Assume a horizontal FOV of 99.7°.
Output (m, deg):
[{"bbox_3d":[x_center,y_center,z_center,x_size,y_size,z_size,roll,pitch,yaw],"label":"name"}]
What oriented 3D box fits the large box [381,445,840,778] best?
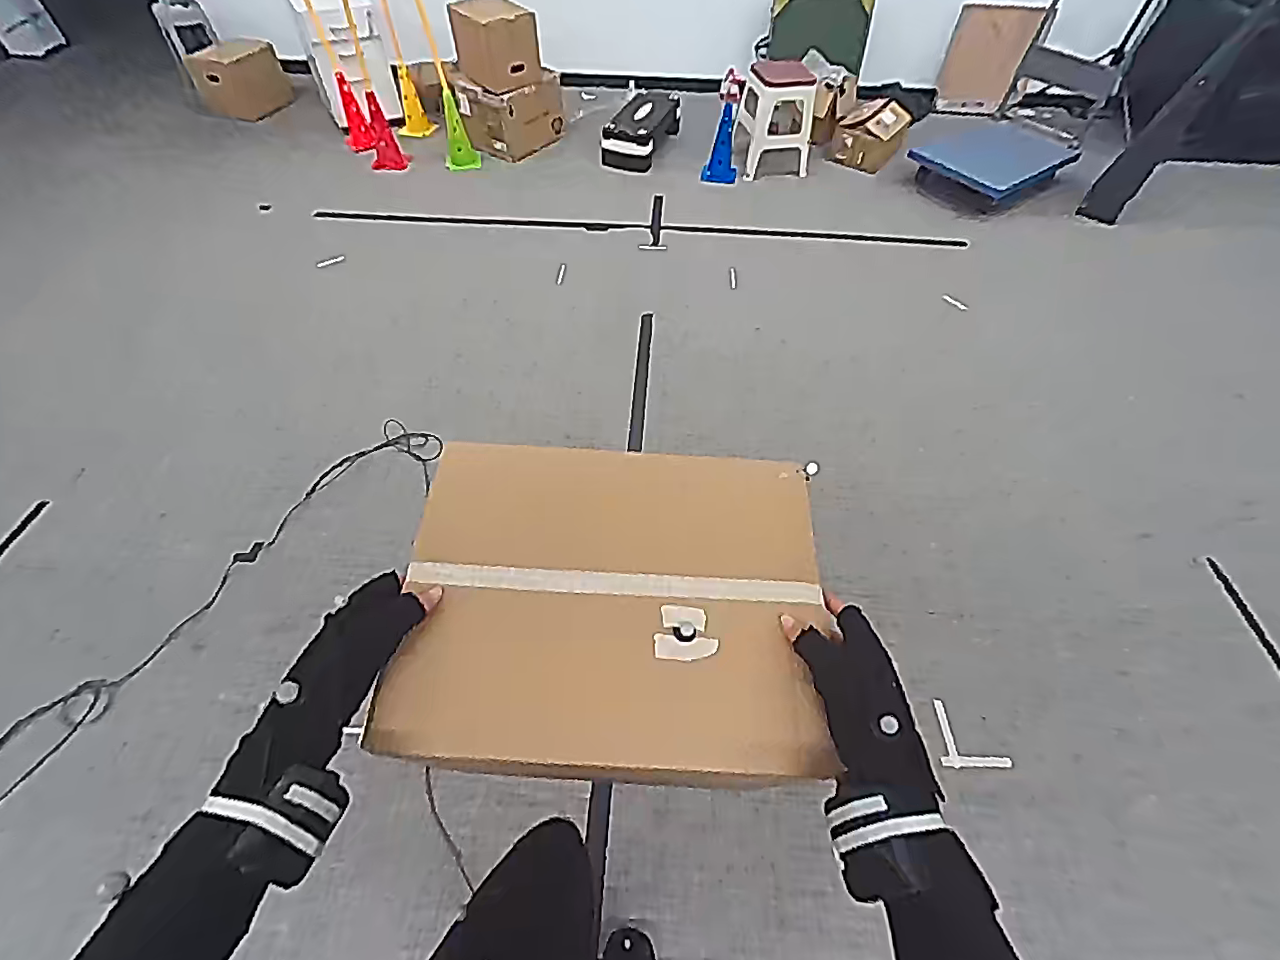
[{"bbox_3d":[-0.028,0.178,0.664,0.408,0.320,0.320,4,59,-1],"label":"large box"}]
